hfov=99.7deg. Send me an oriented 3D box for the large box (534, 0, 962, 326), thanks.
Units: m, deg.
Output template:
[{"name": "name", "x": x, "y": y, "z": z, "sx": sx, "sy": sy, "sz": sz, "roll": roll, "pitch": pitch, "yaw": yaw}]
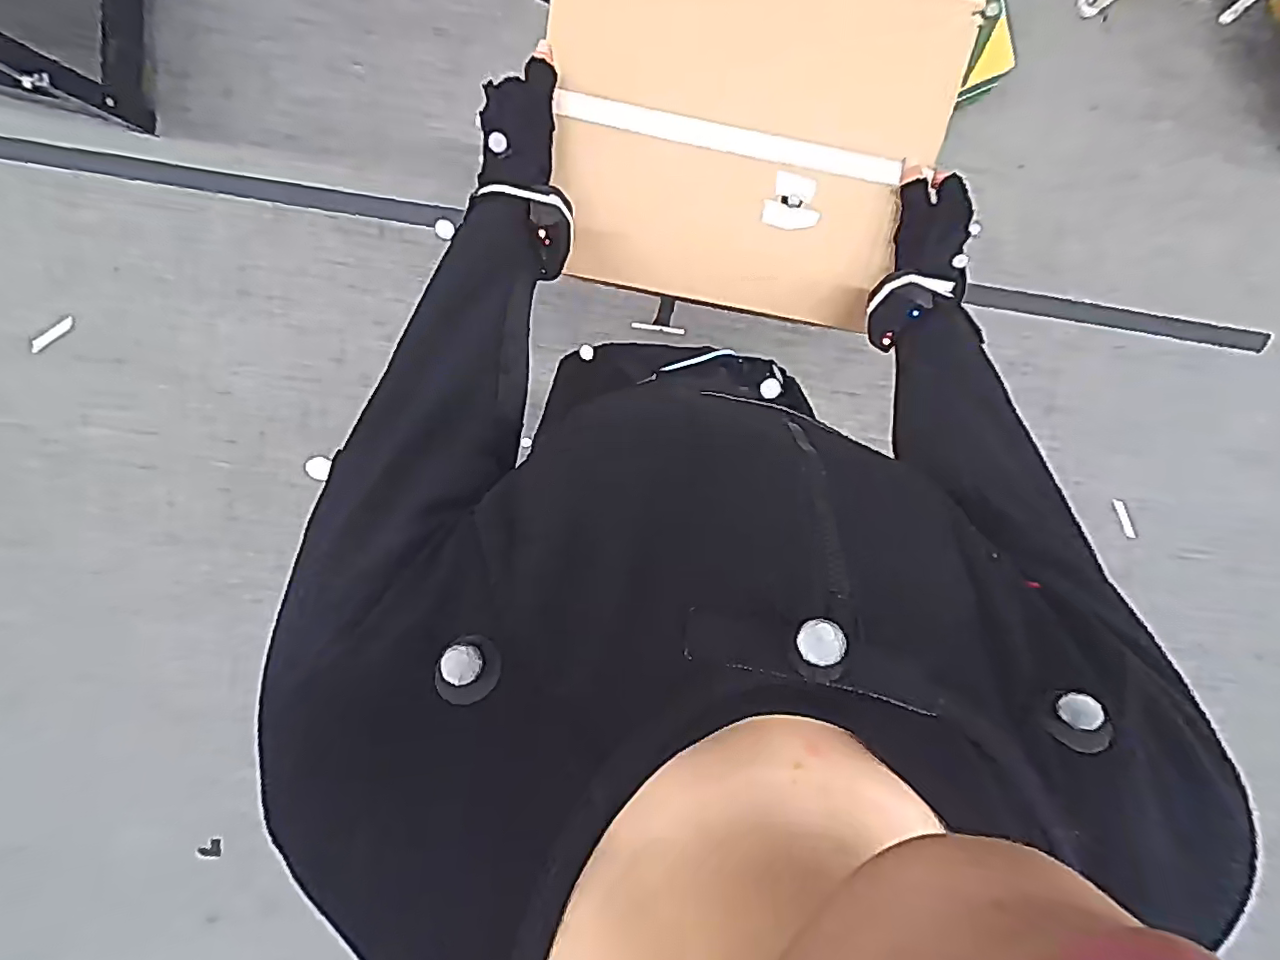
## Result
[{"name": "large box", "x": 0.095, "y": -0.398, "z": 0.707, "sx": 0.408, "sy": 0.320, "sz": 0.320, "roll": 9, "pitch": 109, "yaw": -5}]
